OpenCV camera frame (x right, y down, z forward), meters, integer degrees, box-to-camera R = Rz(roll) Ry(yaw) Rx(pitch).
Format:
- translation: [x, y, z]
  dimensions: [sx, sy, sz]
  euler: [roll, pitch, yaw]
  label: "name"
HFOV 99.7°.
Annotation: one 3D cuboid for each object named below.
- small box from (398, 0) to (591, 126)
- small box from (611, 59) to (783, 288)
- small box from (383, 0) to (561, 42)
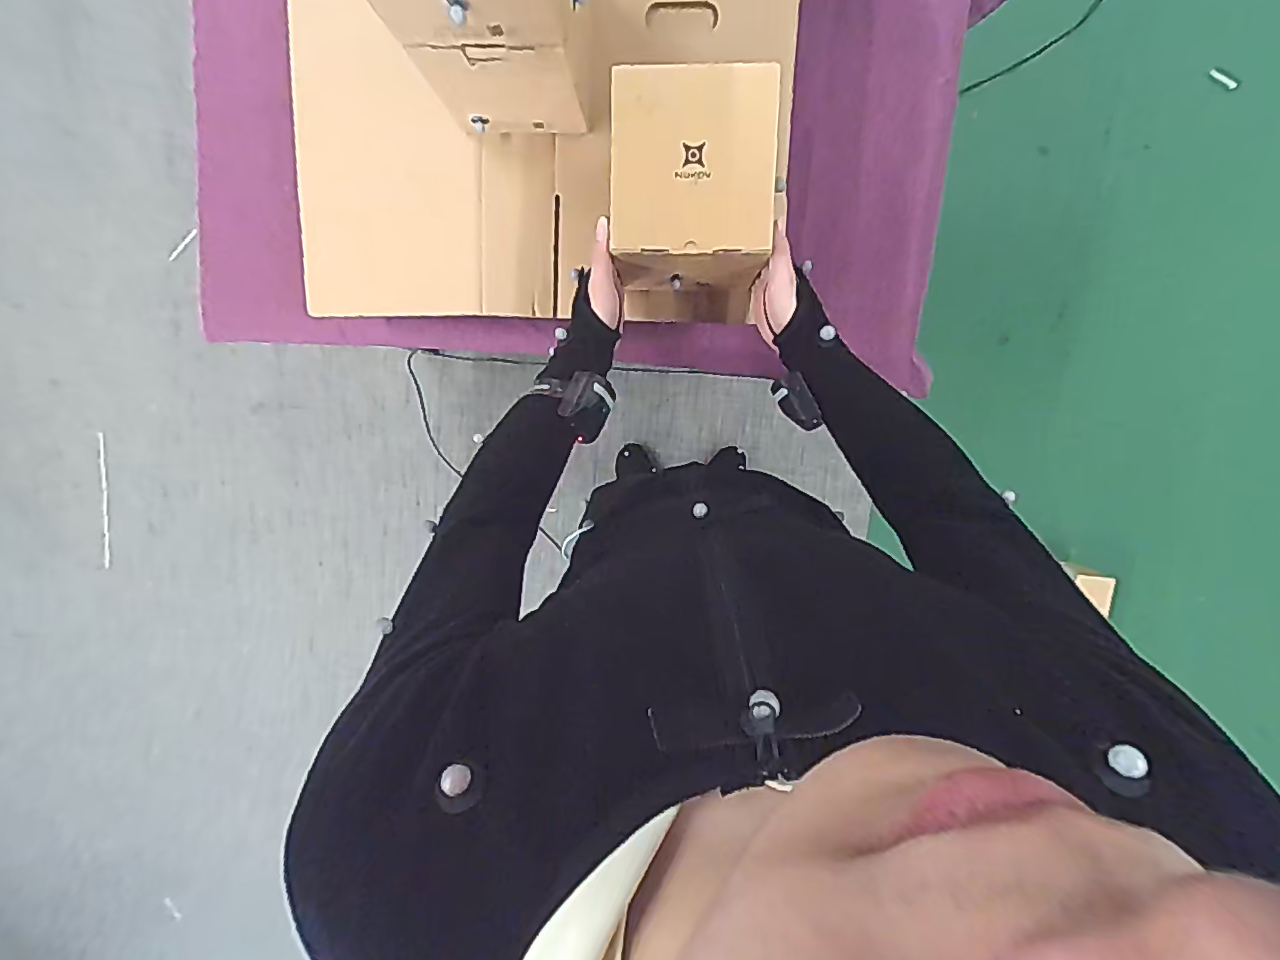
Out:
- translation: [-0.147, -0.518, 0.591]
  dimensions: [0.168, 0.176, 0.179]
  euler: [3, 97, 2]
  label: "small box"
- translation: [0.057, -0.325, 0.606]
  dimensions: [0.168, 0.176, 0.179]
  euler: [1, 98, 3]
  label: "small box"
- translation: [-0.156, -0.500, 0.428]
  dimensions: [0.168, 0.176, 0.179]
  euler: [3, 98, 3]
  label: "small box"
